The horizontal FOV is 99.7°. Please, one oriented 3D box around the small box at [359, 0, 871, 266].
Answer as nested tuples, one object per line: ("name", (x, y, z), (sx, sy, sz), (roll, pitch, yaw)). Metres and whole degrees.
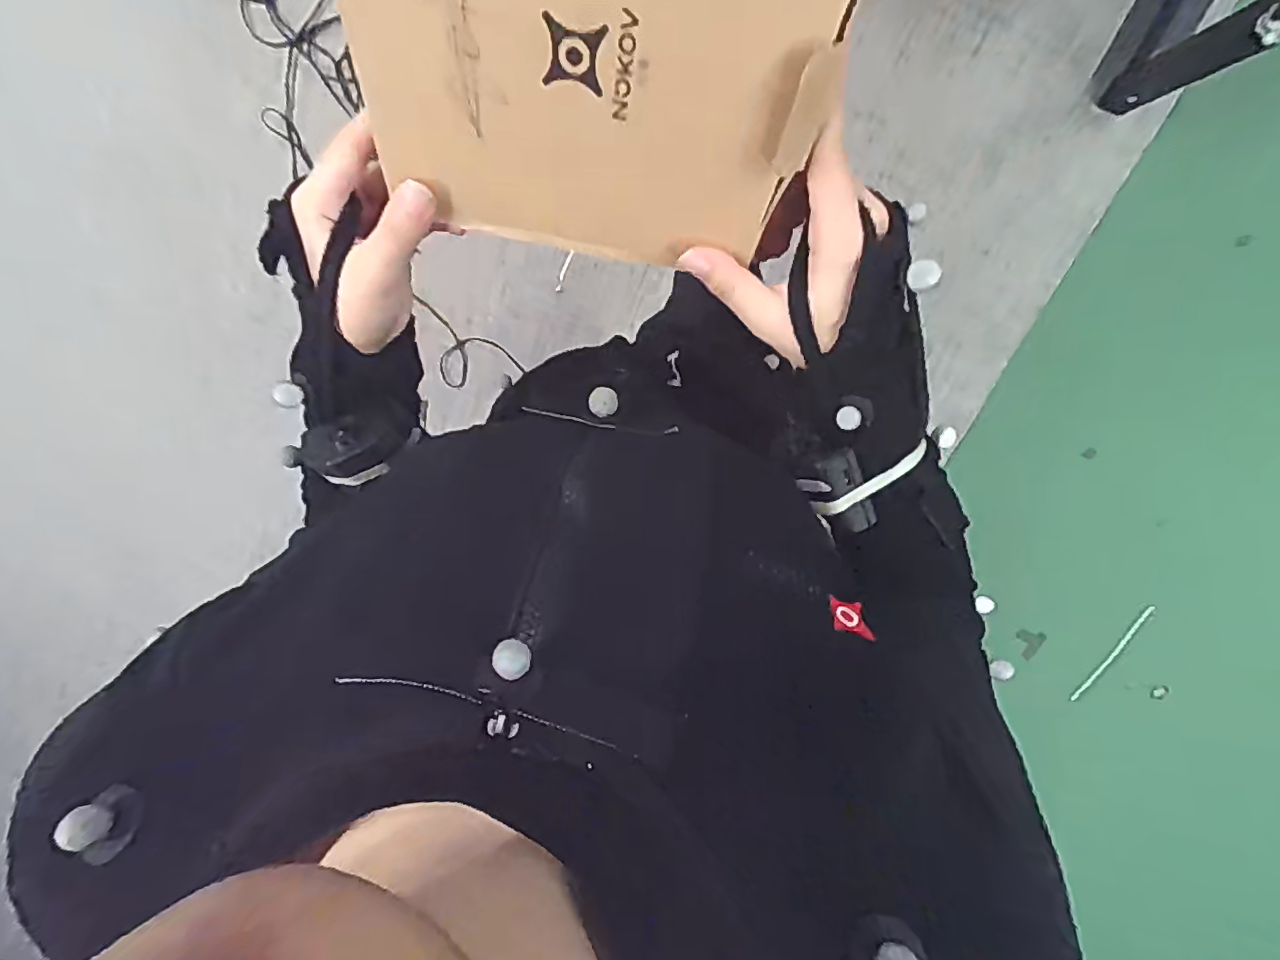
("small box", (-0.006, -0.227, 0.233), (0.179, 0.176, 0.168), (9, 149, -5))
